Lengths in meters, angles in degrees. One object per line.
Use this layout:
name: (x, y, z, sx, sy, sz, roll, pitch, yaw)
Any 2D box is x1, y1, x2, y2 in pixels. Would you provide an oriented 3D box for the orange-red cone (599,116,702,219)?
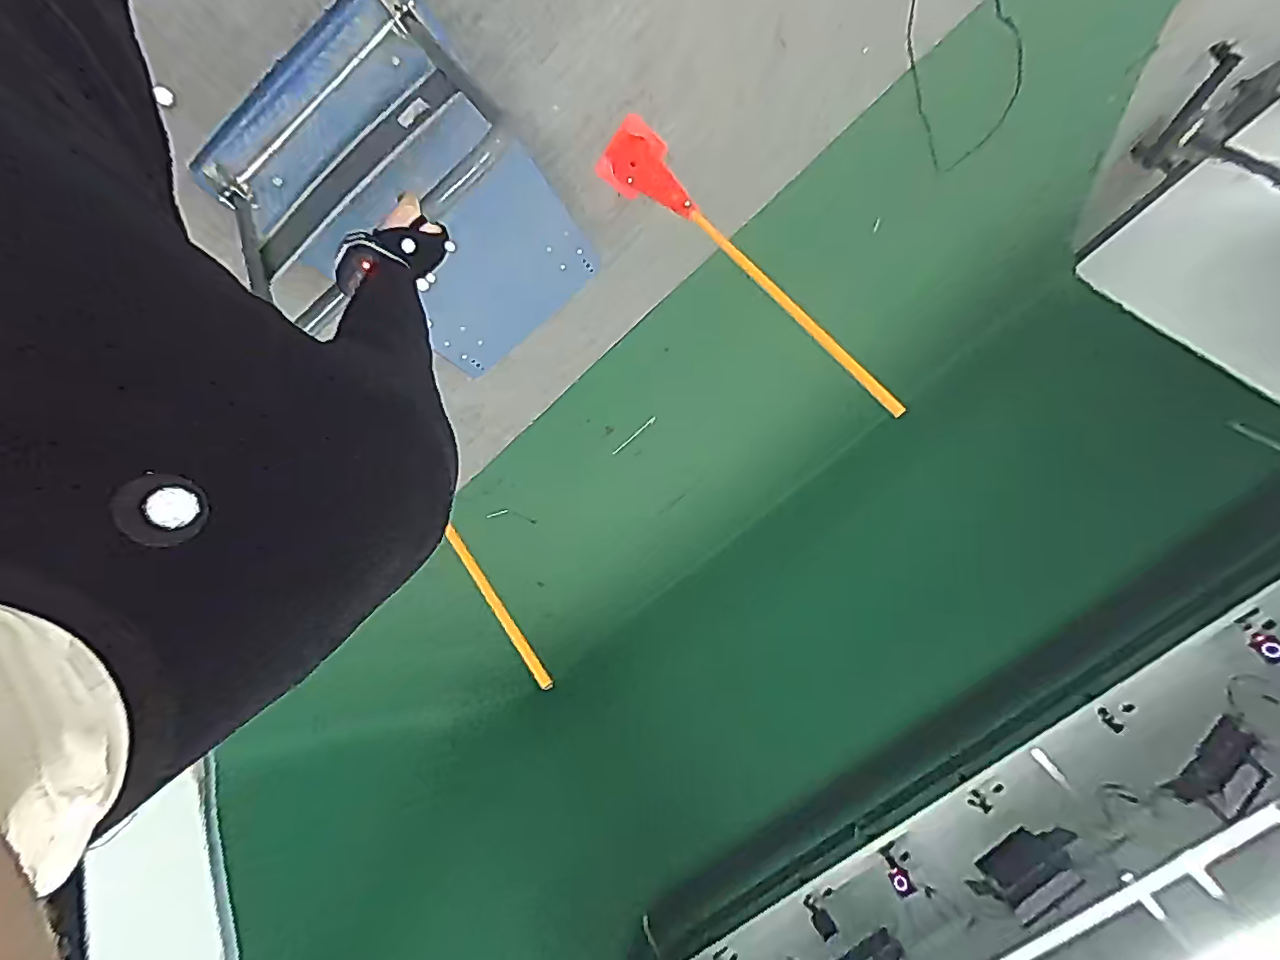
orange-red cone: (0.071, -0.894, 1.633, 0.199, 0.360, 0.198, -49, 150, 22)
